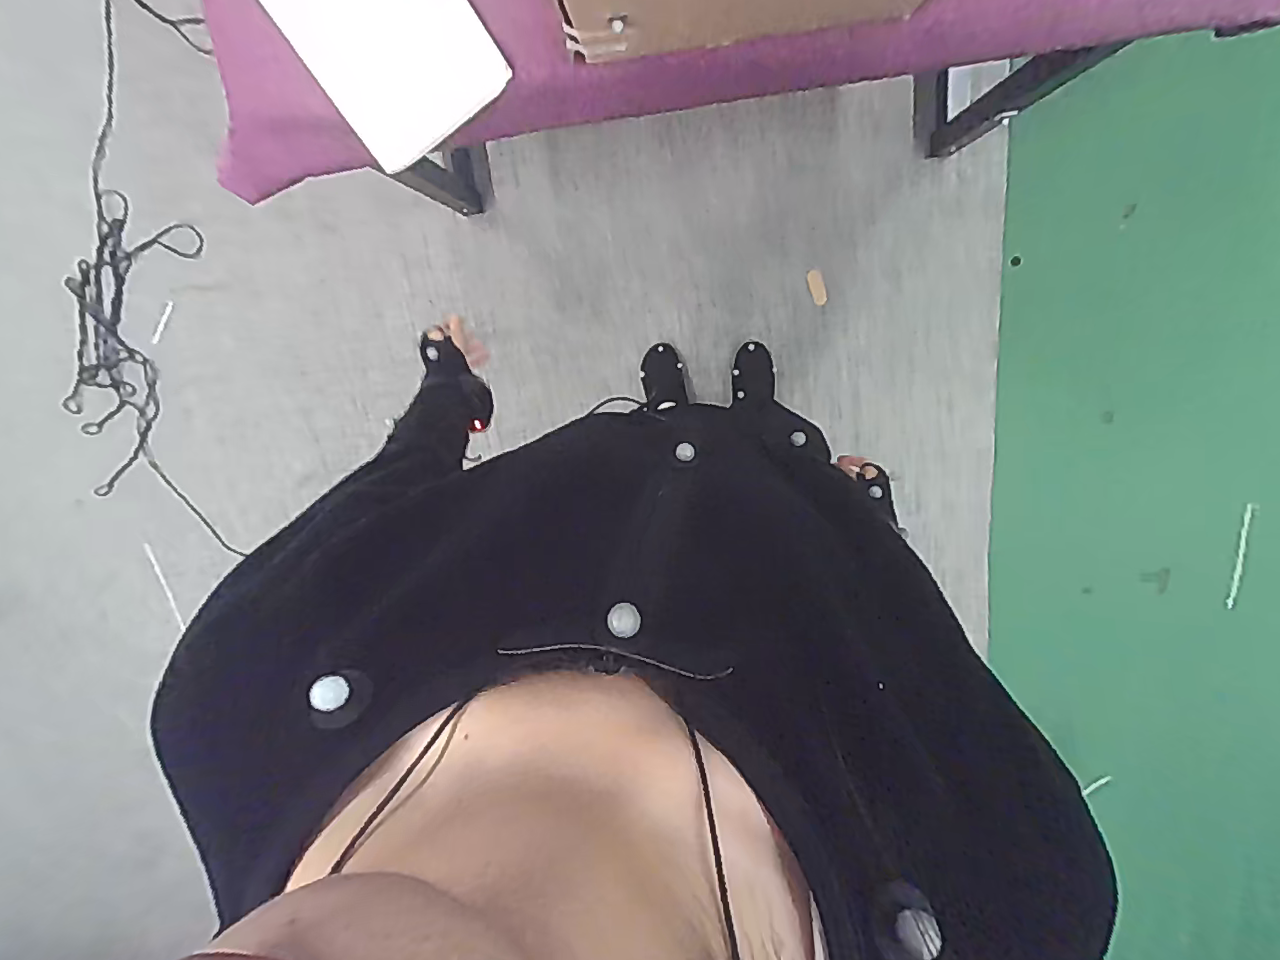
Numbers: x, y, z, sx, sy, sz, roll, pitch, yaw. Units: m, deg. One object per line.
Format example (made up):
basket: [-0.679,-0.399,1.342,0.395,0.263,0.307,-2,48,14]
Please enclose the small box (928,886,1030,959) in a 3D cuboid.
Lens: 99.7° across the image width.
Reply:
small box: [0.859,1.170,1.366,0.168,0.176,0.179,-19,102,9]
